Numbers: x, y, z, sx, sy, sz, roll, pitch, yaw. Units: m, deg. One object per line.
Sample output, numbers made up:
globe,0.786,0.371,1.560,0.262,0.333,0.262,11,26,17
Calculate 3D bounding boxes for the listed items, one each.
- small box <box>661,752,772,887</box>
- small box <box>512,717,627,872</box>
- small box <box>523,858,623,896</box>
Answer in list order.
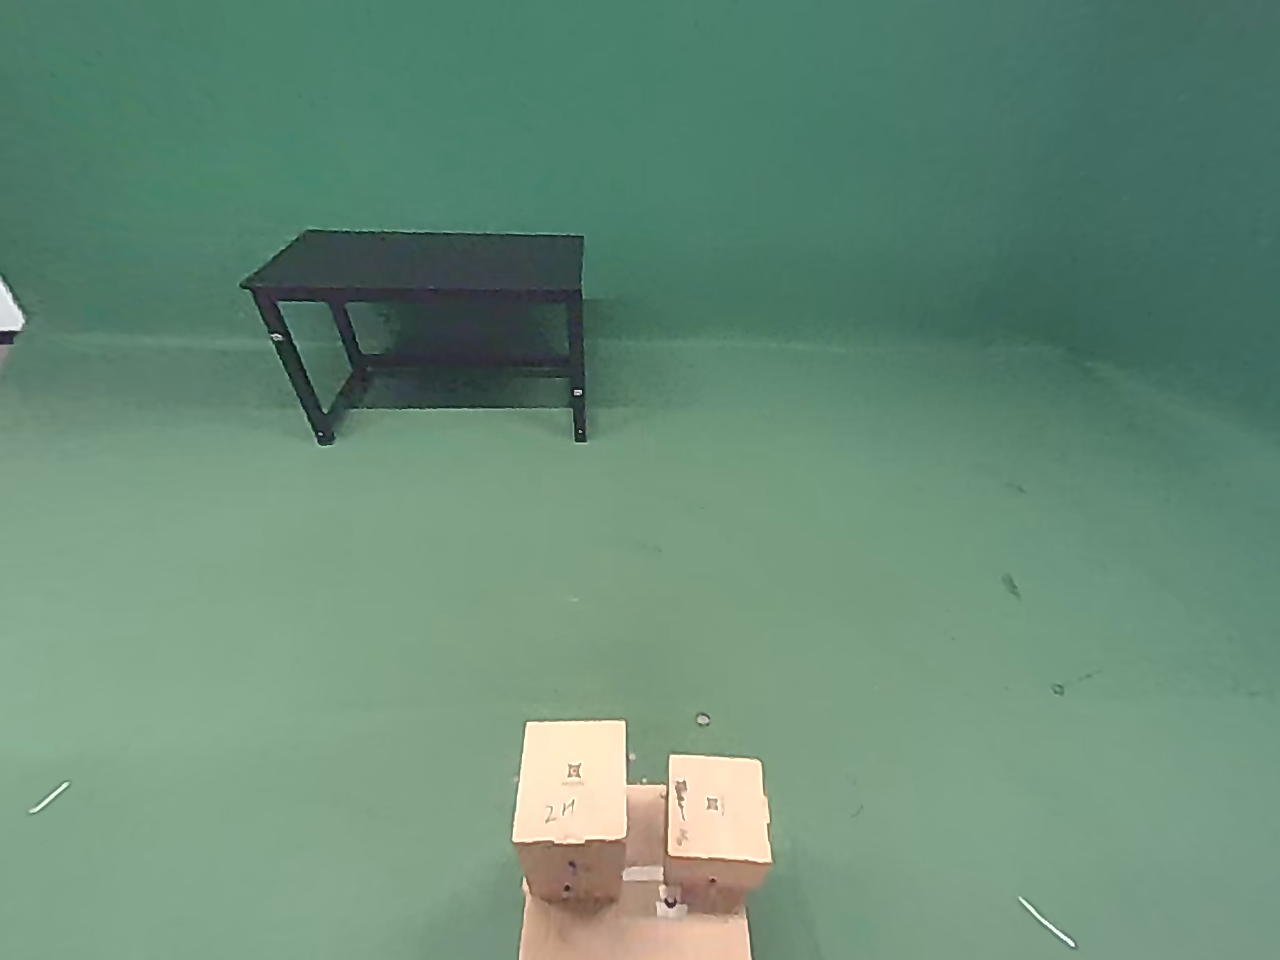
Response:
small box,0.134,0.627,0.997,0.179,0.176,0.168,4,40,2
small box,-0.106,0.508,0.877,0.168,0.176,0.179,0,41,-3
small box,-0.114,0.631,0.987,0.168,0.176,0.179,1,41,-2
